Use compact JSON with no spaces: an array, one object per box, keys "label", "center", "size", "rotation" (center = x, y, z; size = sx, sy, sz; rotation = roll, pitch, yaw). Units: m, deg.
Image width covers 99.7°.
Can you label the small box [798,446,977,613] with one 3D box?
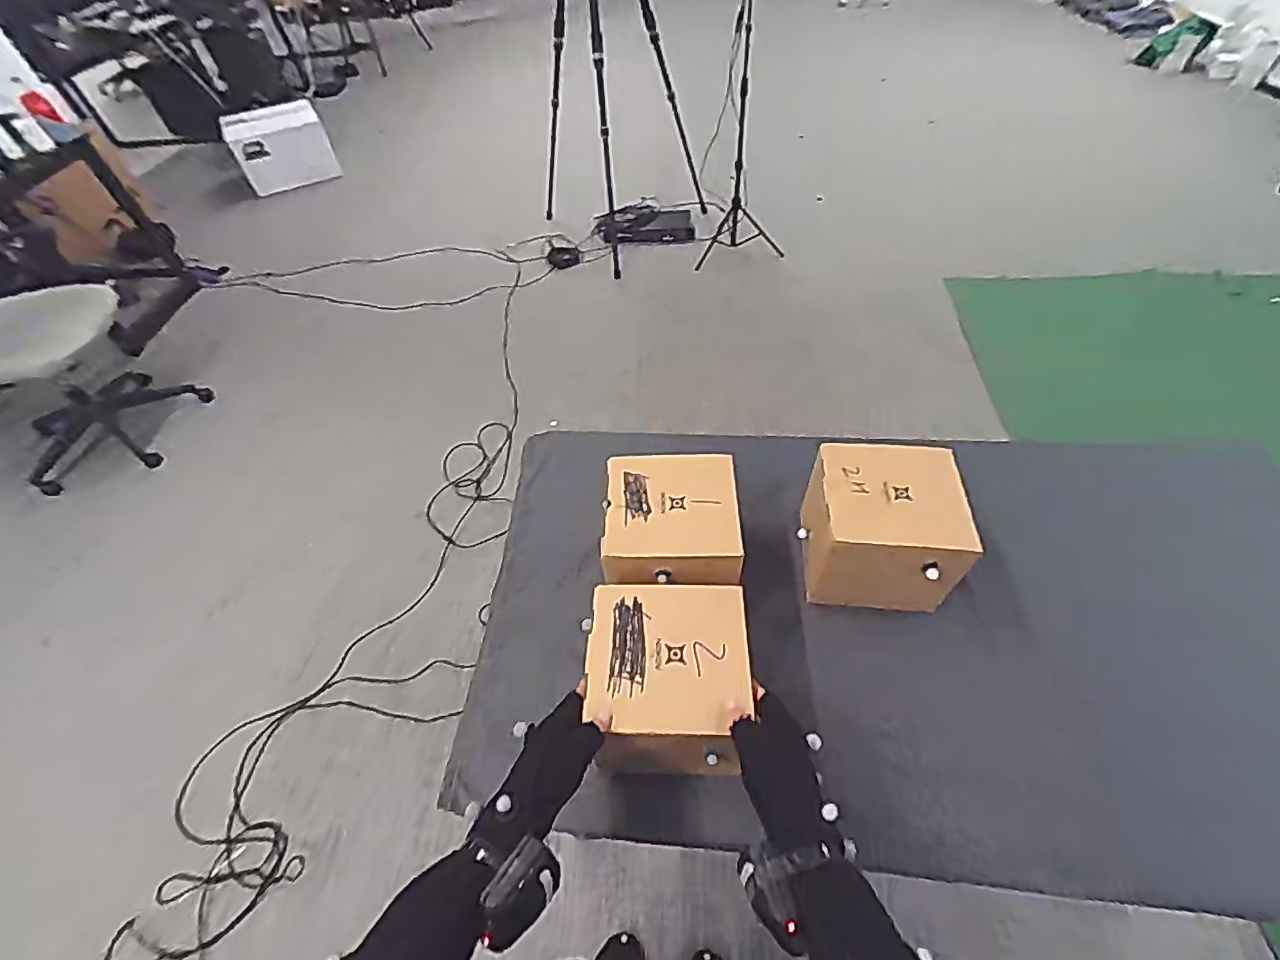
[{"label":"small box","center":[0.328,0.073,0.757],"size":[0.179,0.176,0.168],"rotation":[4,51,7]}]
